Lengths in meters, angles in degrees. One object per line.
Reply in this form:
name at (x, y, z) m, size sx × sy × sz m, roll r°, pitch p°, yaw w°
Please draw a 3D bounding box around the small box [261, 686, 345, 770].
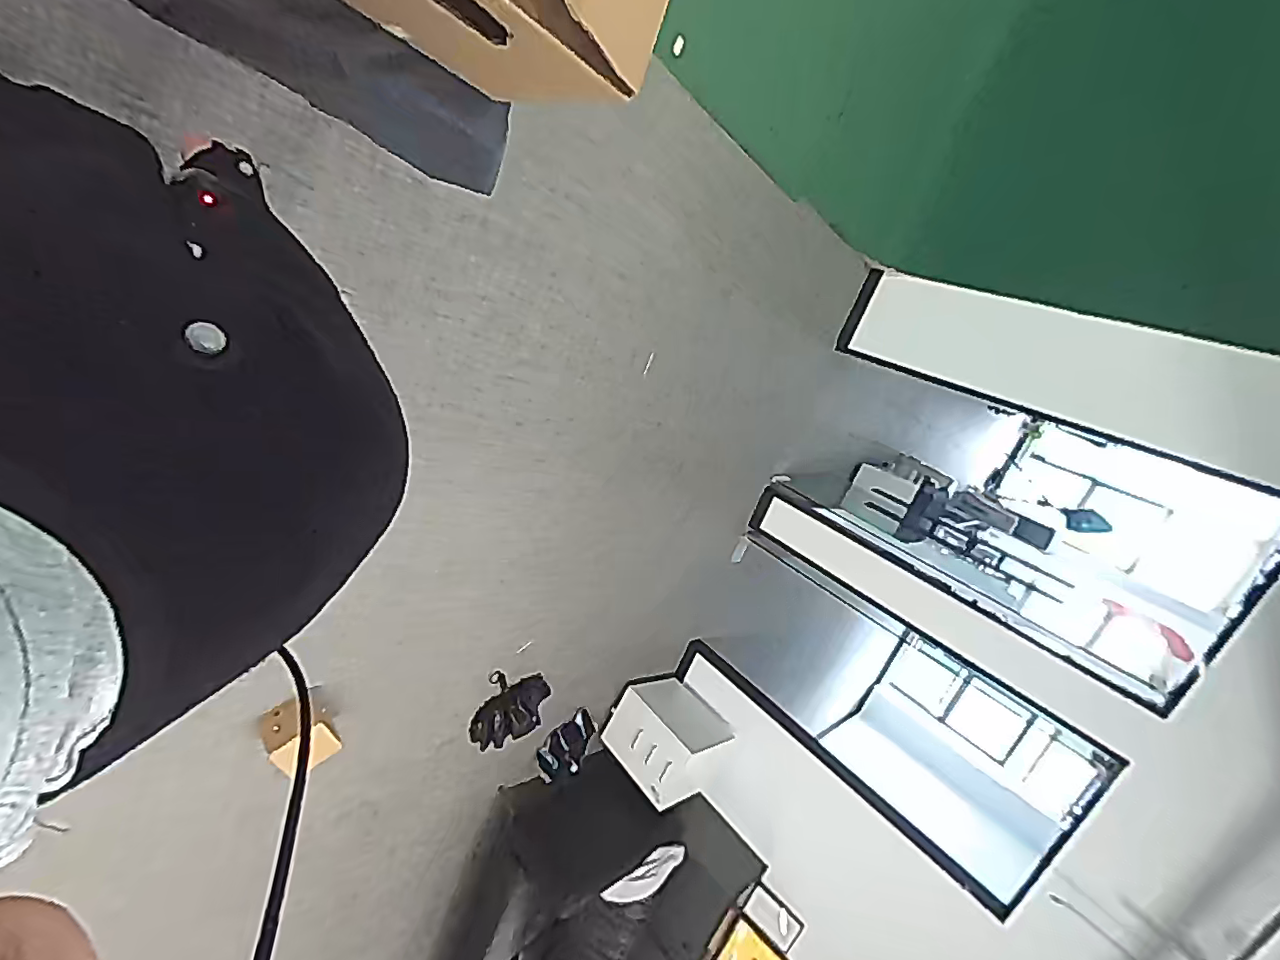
small box at (-1.143, 0.830, 1.829) m, size 0.168 × 0.176 × 0.179 m, roll -32°, pitch 139°, yaw -27°
